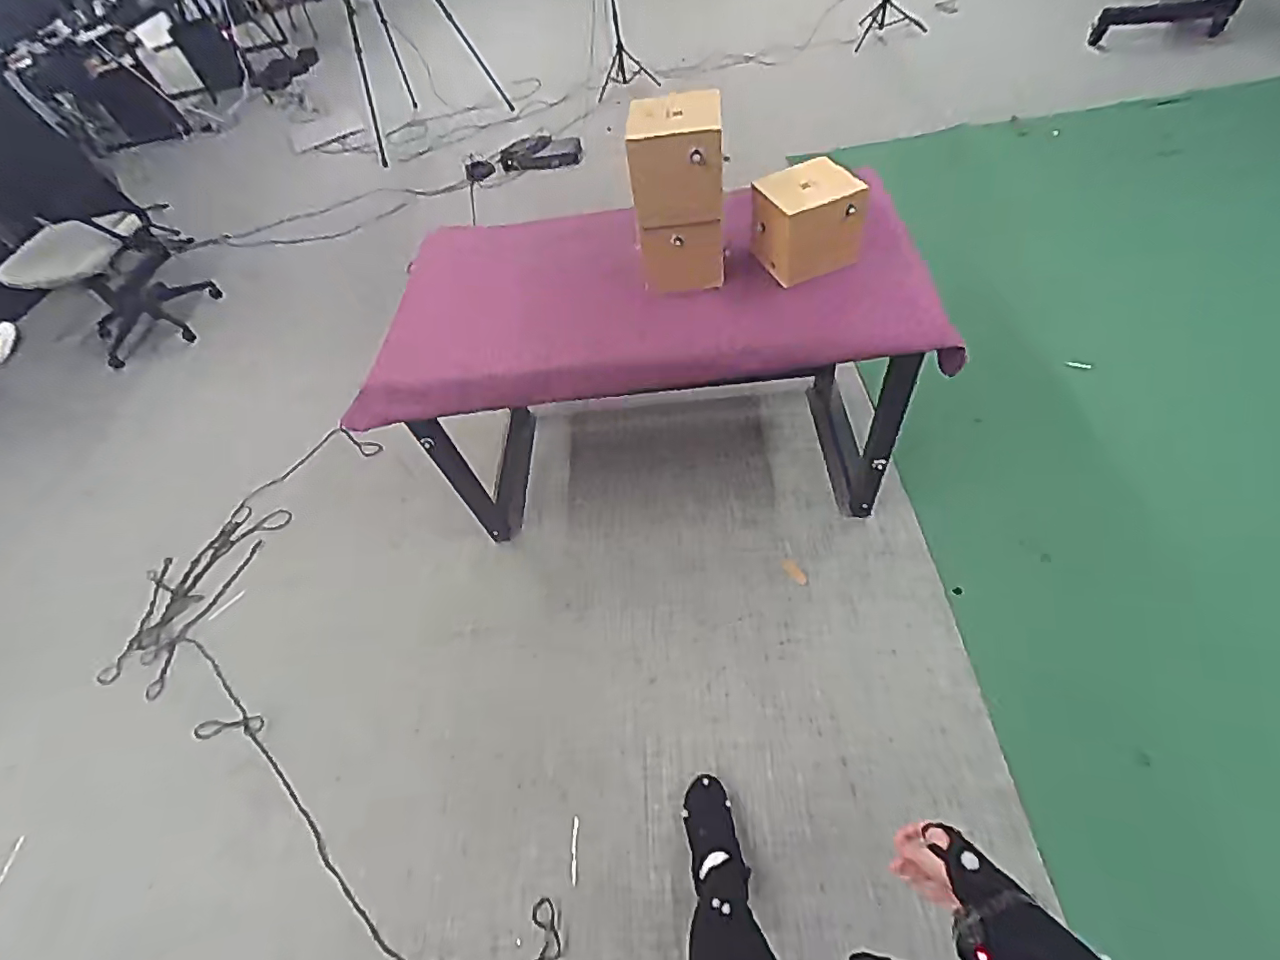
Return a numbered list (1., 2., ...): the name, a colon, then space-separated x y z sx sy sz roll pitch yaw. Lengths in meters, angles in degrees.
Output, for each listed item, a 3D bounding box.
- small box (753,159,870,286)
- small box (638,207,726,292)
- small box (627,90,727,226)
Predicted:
1. small box: 0.356 -0.542 1.152 0.179 0.176 0.168 -21 53 -5
2. small box: 0.099 -0.533 1.191 0.179 0.176 0.168 -1 55 9
3. small box: 0.081 -0.621 1.053 0.179 0.176 0.168 -1 55 10
